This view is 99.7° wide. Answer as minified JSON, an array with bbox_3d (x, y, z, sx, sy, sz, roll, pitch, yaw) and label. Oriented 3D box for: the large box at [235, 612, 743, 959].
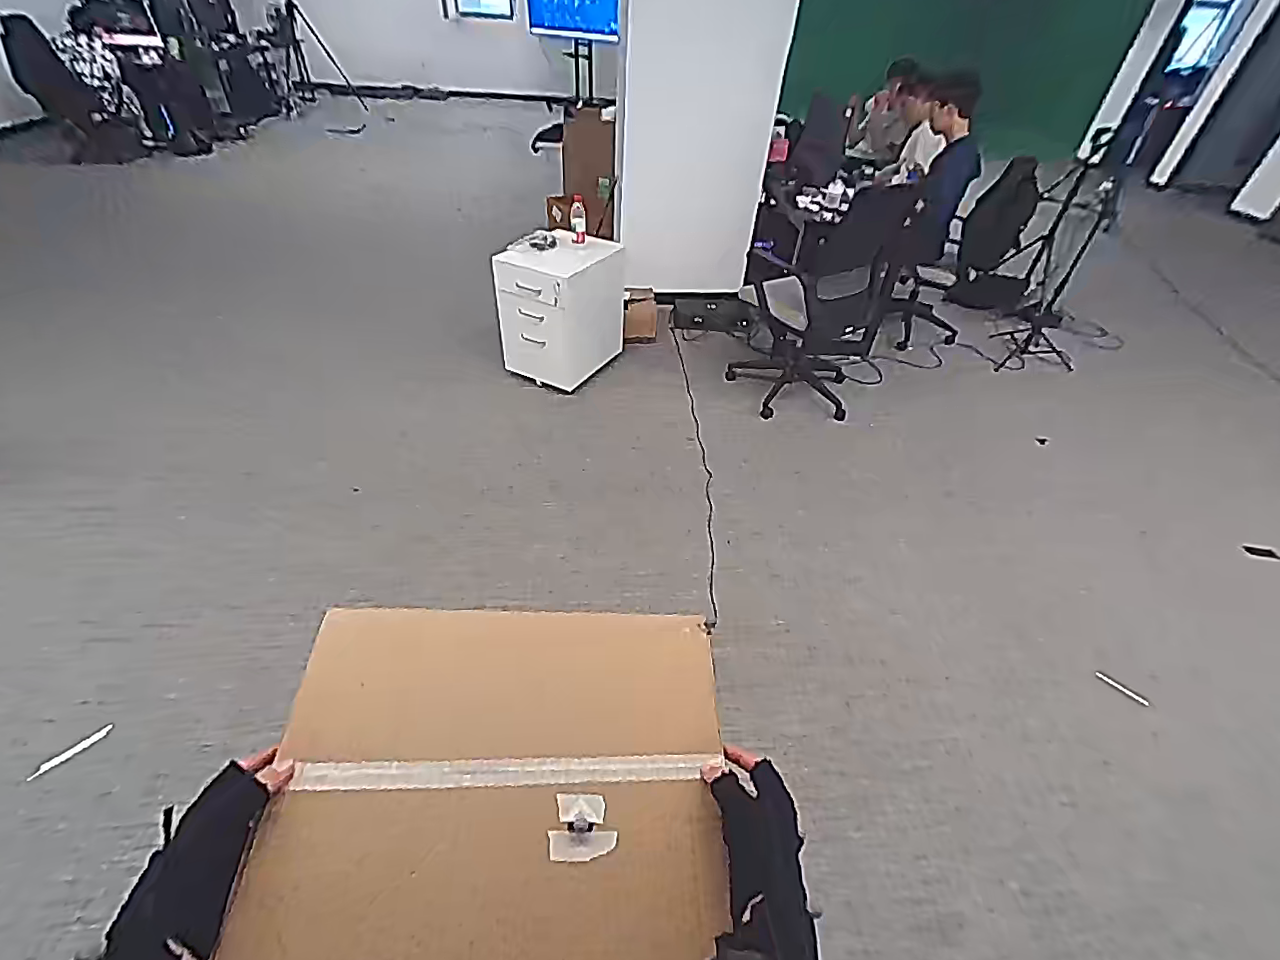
[{"bbox_3d":[-0.138,0.363,0.625,0.408,0.320,0.320,4,52,-8],"label":"large box"}]
